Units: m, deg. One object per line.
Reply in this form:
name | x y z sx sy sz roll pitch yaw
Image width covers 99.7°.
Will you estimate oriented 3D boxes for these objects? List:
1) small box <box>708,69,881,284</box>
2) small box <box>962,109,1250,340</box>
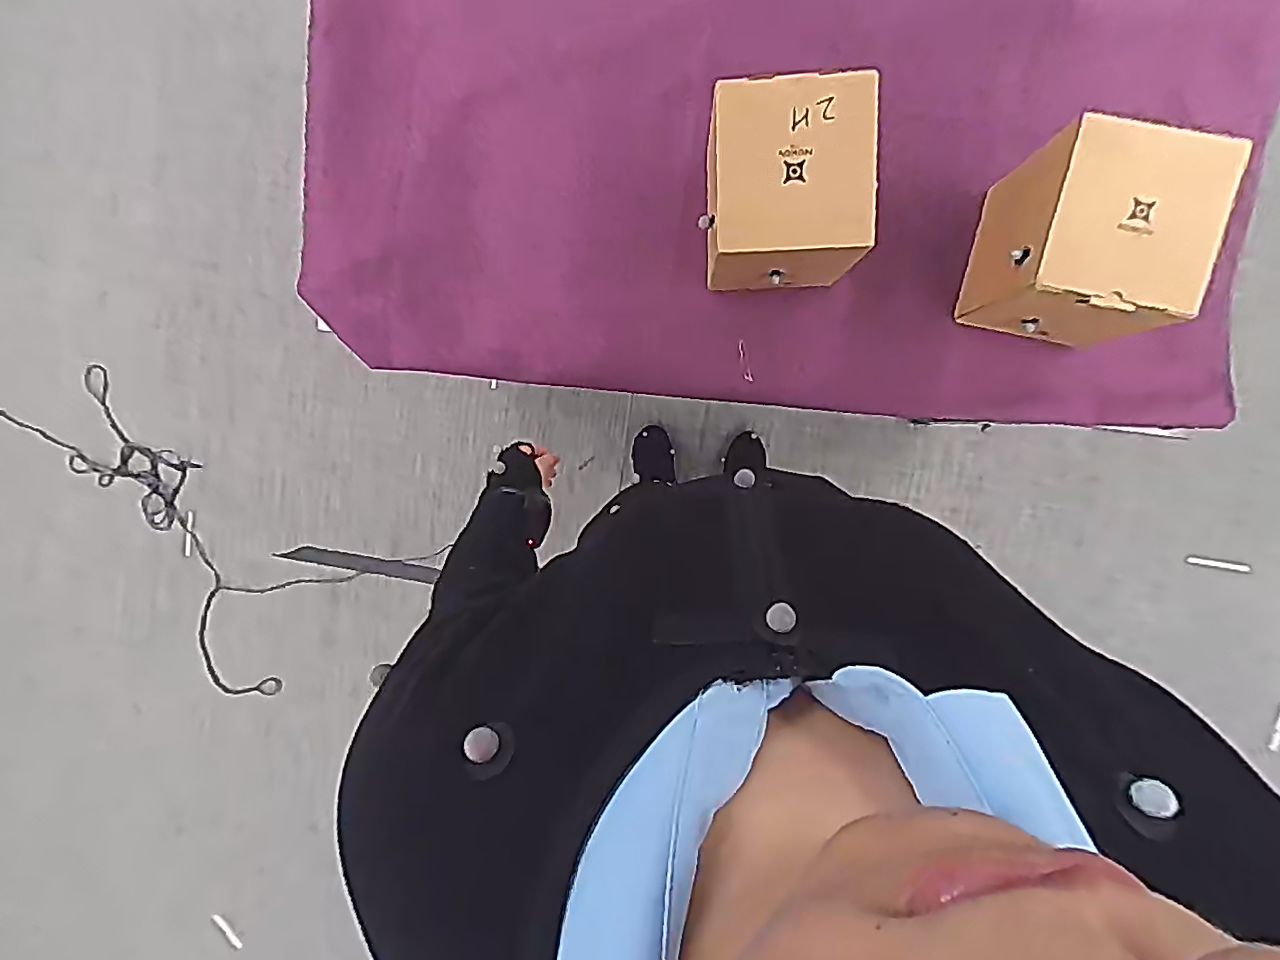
small box | 0.168 -0.337 0.639 0.168 0.176 0.179 -1 96 4
small box | 0.508 -0.275 0.621 0.168 0.176 0.179 12 96 3
